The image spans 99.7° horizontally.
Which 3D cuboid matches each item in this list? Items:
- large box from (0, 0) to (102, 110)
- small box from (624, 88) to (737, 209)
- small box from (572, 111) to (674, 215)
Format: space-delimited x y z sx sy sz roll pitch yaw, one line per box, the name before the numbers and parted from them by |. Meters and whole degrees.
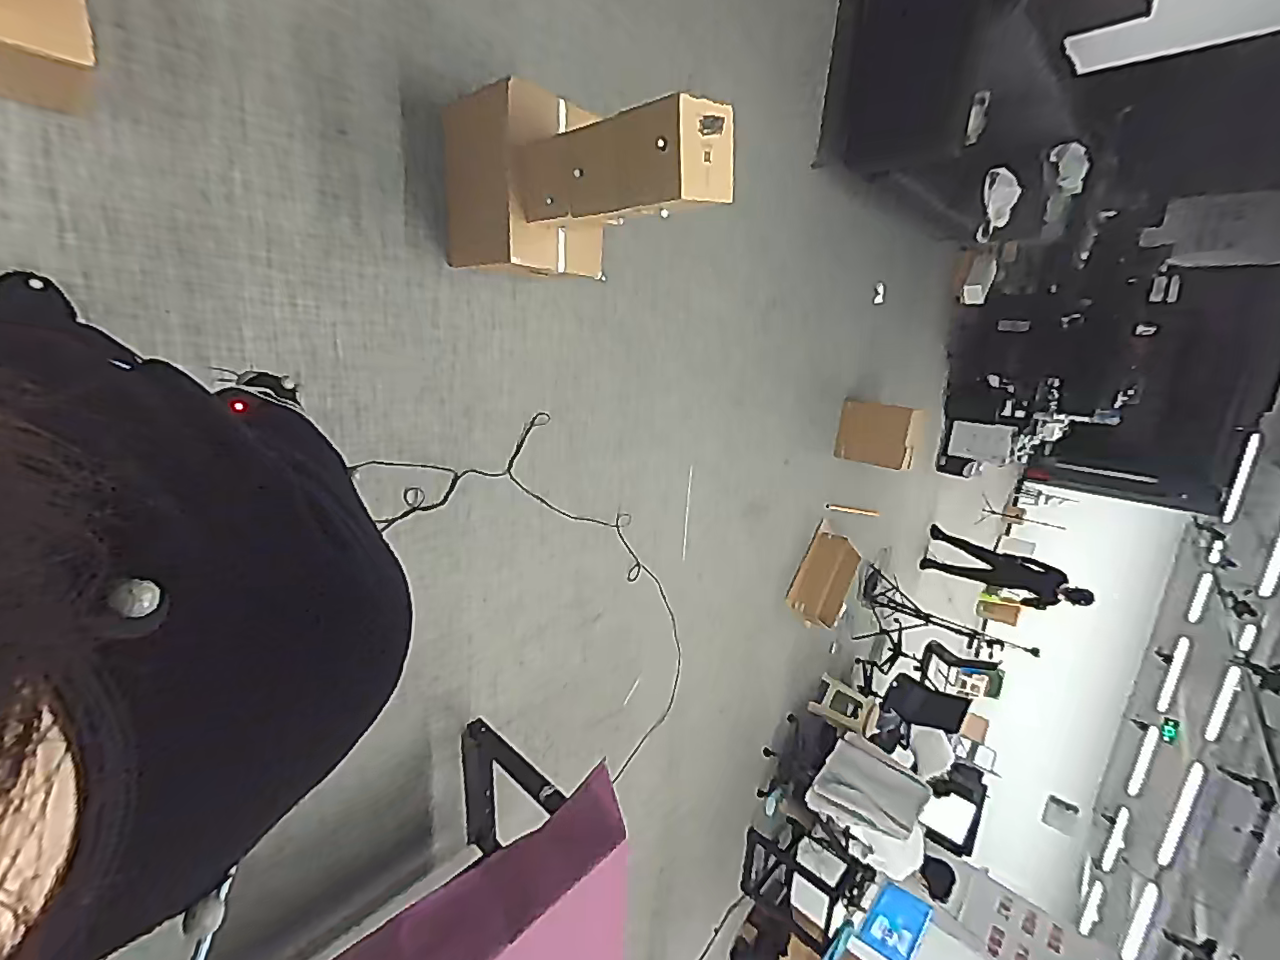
large box | -0.998 -0.811 0.741 0.320 0.320 0.408 -12 110 -45
small box | 0.080 -0.662 1.102 0.168 0.176 0.179 -22 119 -40
small box | -0.036 -0.698 1.214 0.168 0.176 0.179 -21 119 -40
